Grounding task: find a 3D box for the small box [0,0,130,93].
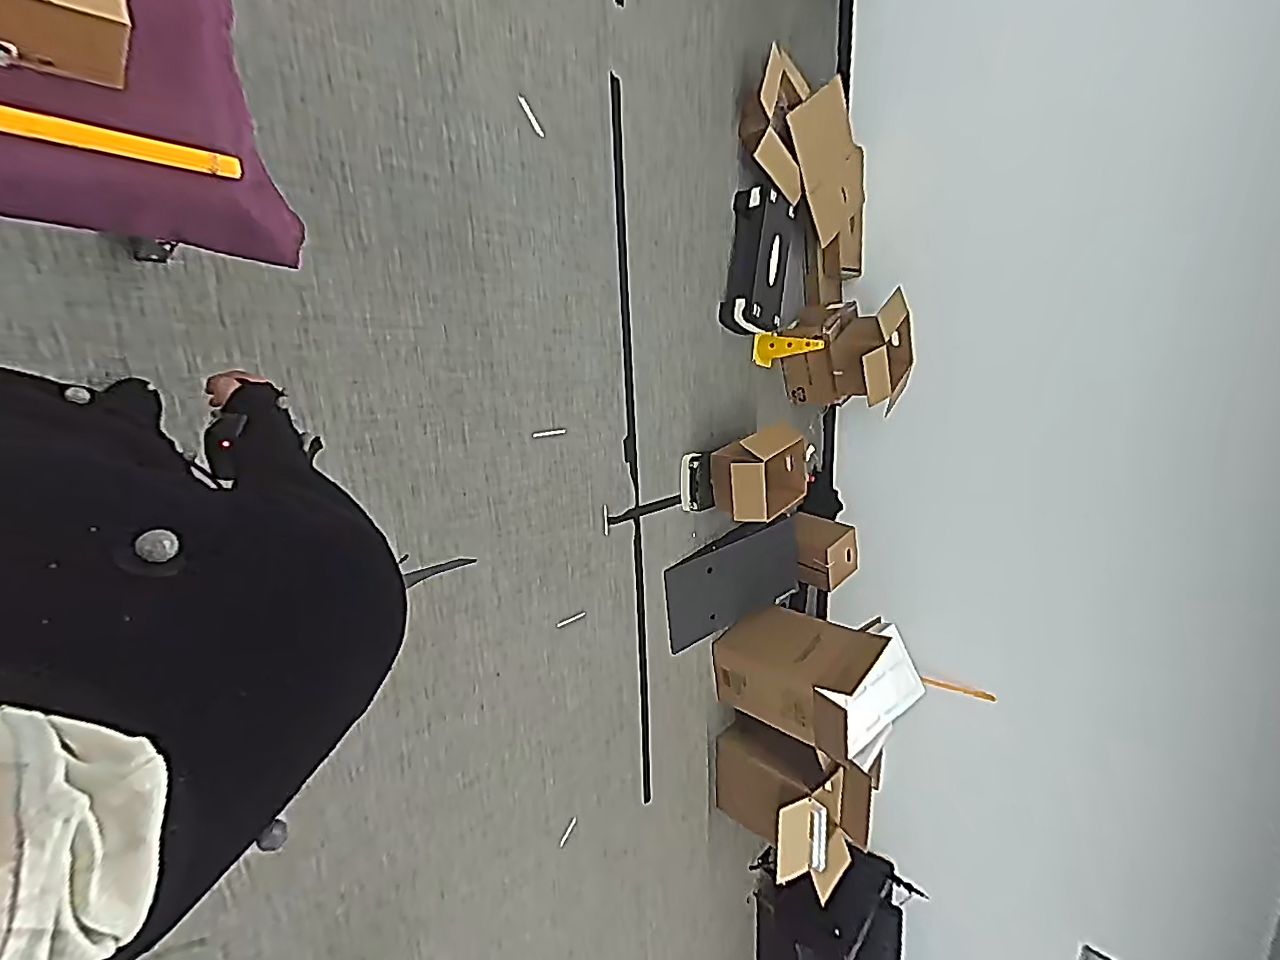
[{"bbox_3d":[-0.616,-0.516,0.510,0.168,0.176,0.179,-15,106,-43],"label":"small box"}]
